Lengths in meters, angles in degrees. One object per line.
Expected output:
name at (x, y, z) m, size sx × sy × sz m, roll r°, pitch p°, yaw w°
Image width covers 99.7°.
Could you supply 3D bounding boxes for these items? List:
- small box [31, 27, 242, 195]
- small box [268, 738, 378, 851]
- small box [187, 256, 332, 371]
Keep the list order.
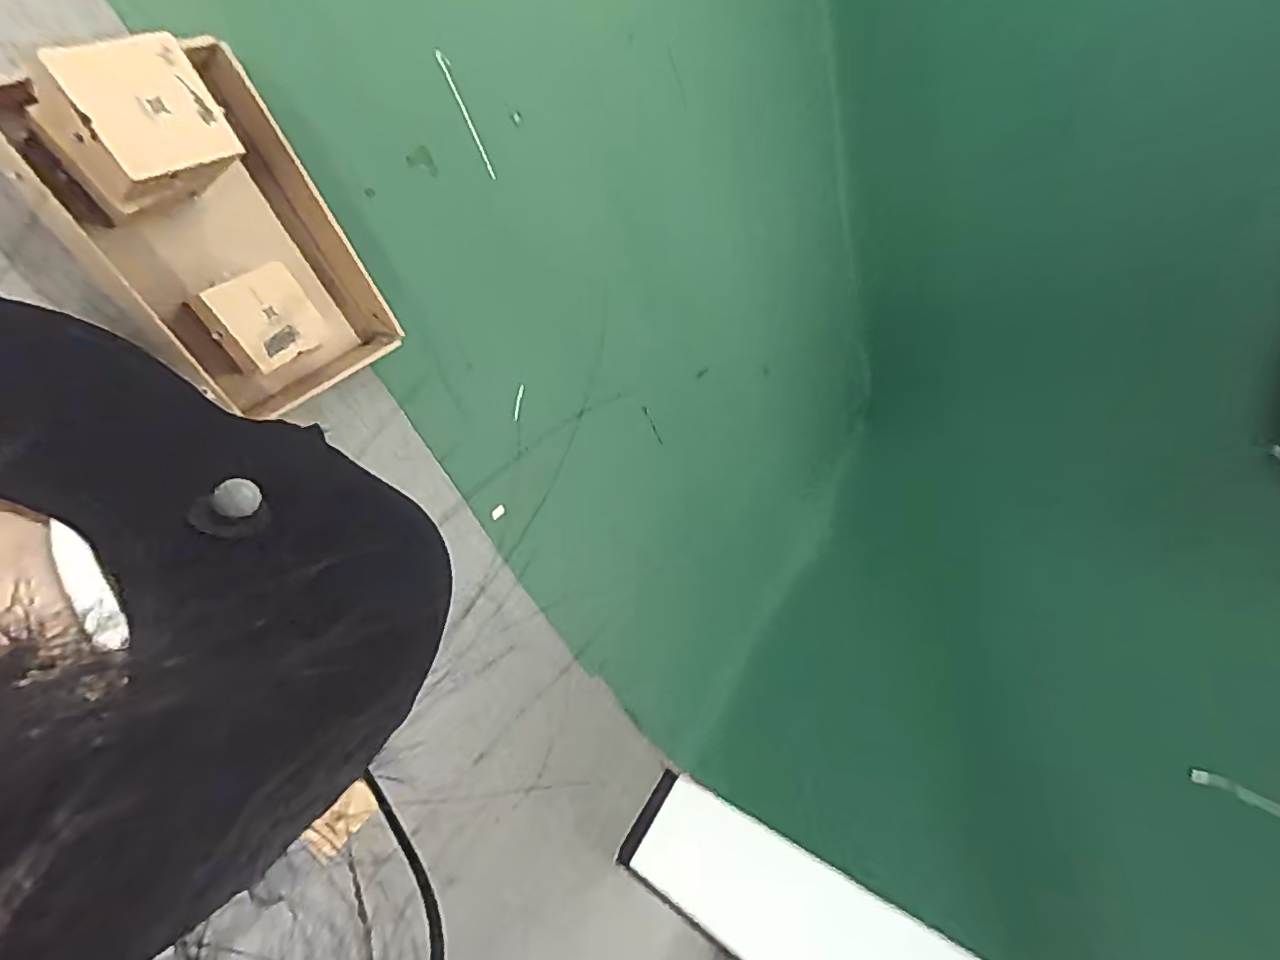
small box at (-0.784, -0.571, 0.852) m, size 0.179 × 0.176 × 0.168 m, roll -44°, pitch 129°, yaw -32°
small box at (-0.850, 0.834, 1.451) m, size 0.168 × 0.176 × 0.179 m, roll -43°, pitch 129°, yaw -34°
small box at (-0.800, -0.348, 1.140) m, size 0.168 × 0.176 × 0.179 m, roll -46°, pitch 129°, yaw -31°
